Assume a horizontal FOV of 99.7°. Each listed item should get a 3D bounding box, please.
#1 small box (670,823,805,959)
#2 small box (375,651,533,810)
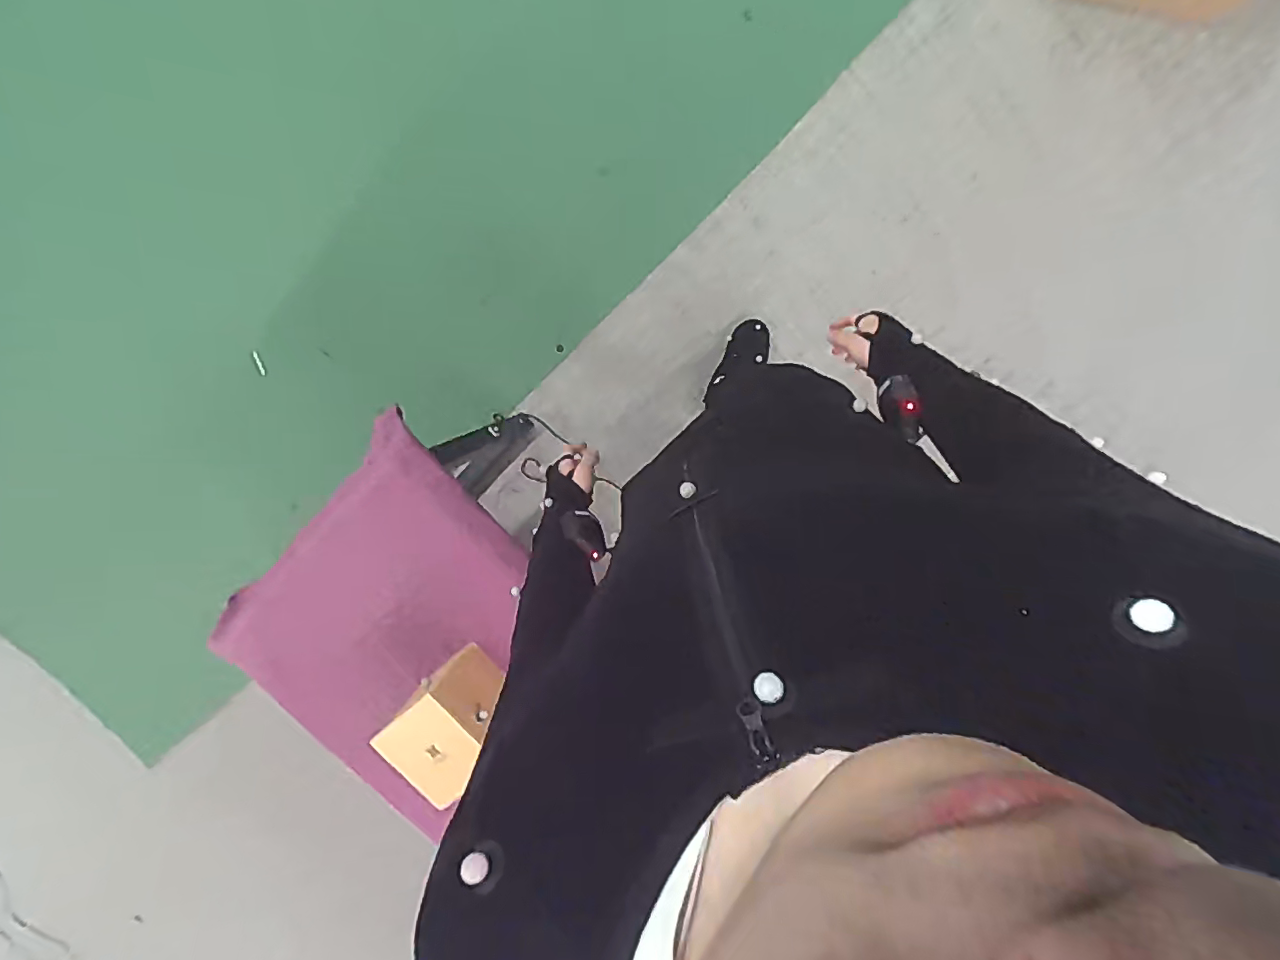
[{"bbox_3d":[0.180,0.788,0.996,0.168,0.176,0.179,45,108,-6],"label":"small box"},{"bbox_3d":[-0.327,0.440,0.983,0.168,0.176,0.179,-41,97,15],"label":"small box"}]
